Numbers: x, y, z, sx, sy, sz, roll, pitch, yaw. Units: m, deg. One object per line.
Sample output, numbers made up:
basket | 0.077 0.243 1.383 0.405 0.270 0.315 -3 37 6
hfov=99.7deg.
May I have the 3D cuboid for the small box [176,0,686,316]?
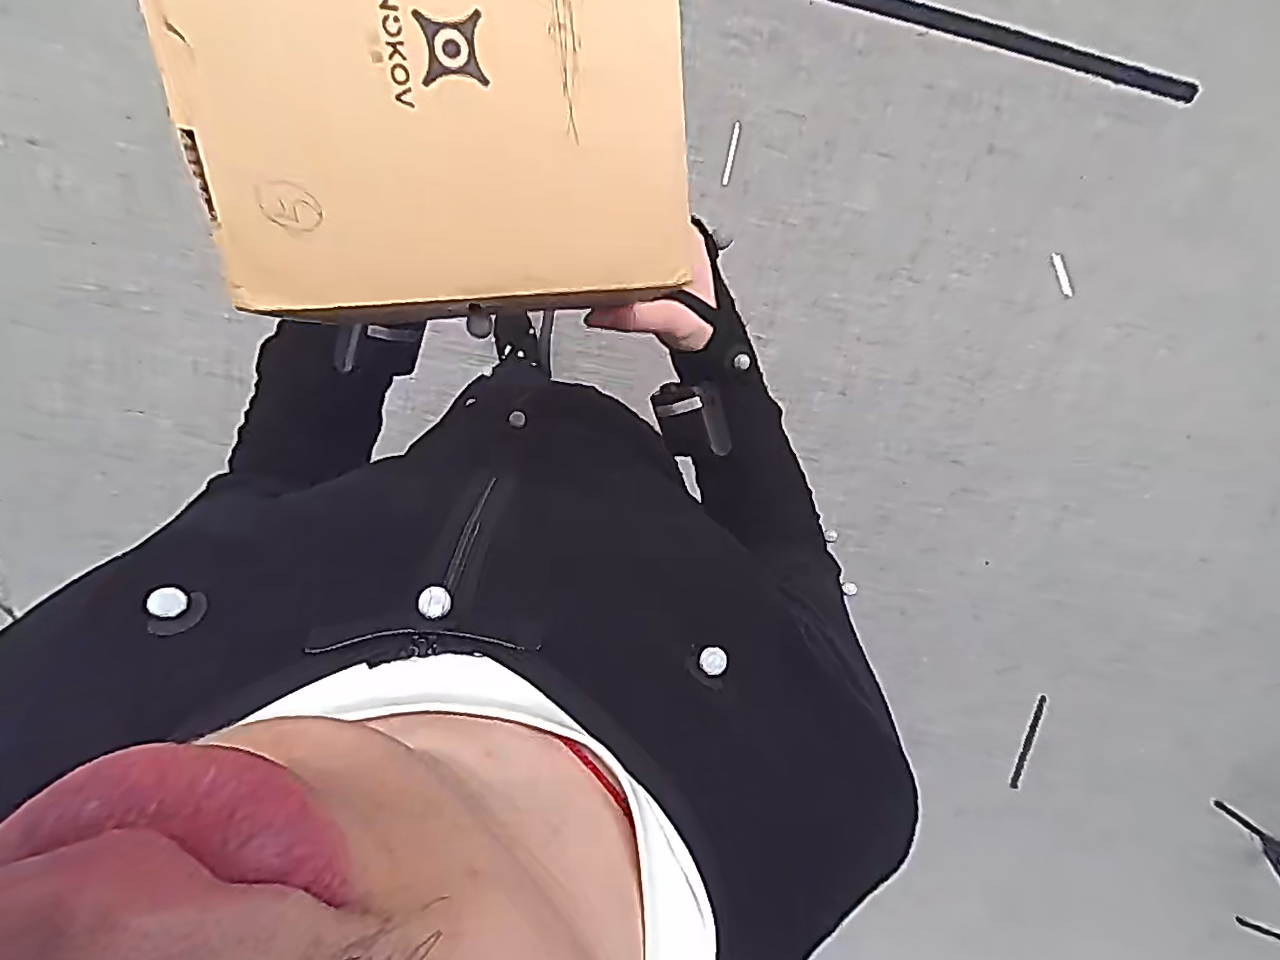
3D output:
small box | -0.085 -0.177 0.275 0.179 0.176 0.168 -8 107 -9
